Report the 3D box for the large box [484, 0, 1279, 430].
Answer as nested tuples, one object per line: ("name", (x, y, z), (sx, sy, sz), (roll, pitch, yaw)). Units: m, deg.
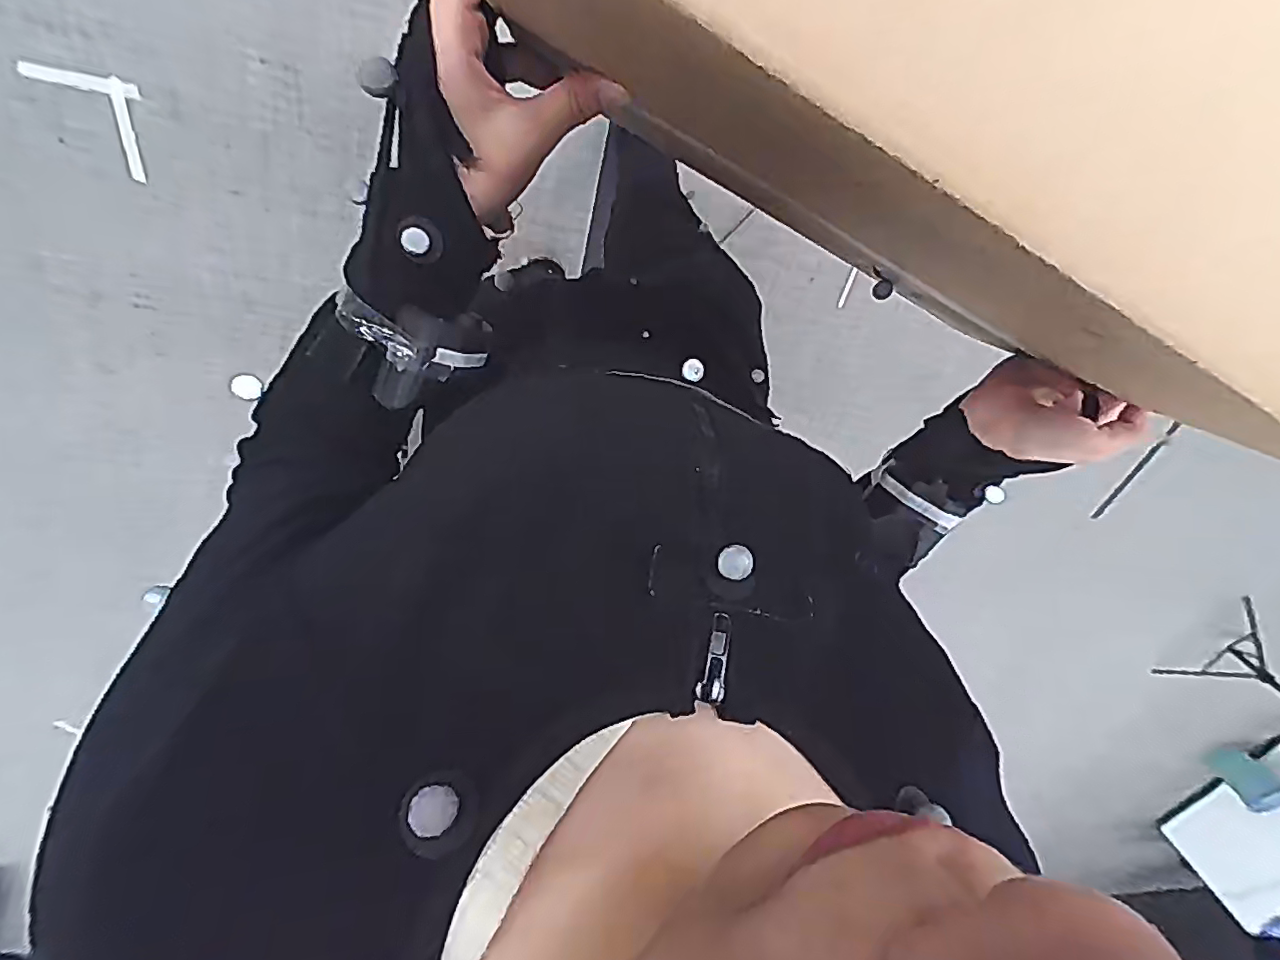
("large box", (0.172, -0.270, 0.231), (0.408, 0.320, 0.320), (21, 117, -15))
